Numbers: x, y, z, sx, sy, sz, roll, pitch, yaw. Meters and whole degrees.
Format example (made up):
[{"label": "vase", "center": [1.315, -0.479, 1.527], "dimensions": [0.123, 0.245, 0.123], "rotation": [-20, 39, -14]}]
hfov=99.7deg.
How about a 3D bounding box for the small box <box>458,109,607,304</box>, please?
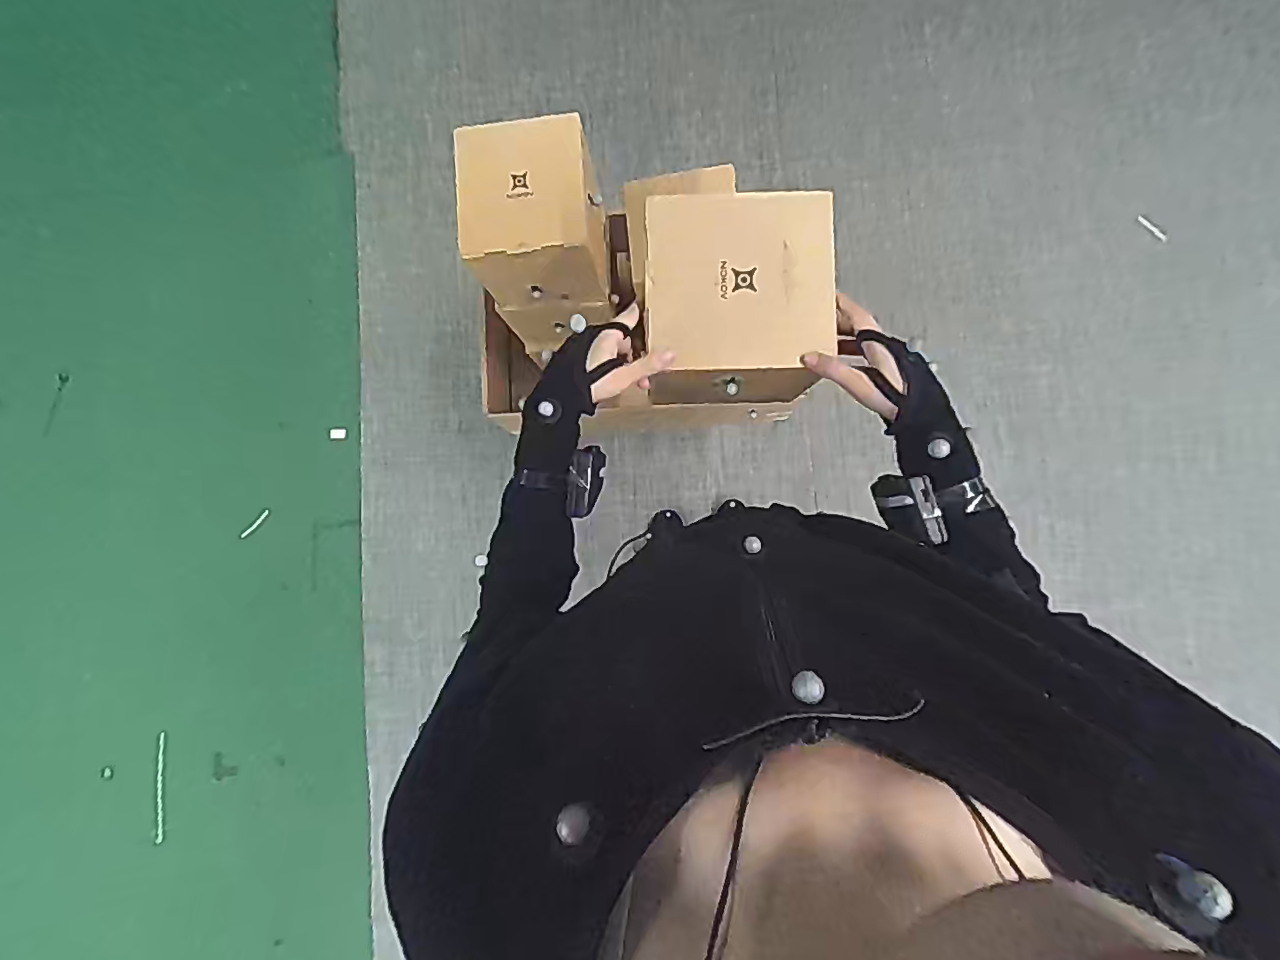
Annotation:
[{"label": "small box", "center": [-0.141, -0.369, 0.757], "dimensions": [0.168, 0.176, 0.179], "rotation": [-5, 85, 5]}]
